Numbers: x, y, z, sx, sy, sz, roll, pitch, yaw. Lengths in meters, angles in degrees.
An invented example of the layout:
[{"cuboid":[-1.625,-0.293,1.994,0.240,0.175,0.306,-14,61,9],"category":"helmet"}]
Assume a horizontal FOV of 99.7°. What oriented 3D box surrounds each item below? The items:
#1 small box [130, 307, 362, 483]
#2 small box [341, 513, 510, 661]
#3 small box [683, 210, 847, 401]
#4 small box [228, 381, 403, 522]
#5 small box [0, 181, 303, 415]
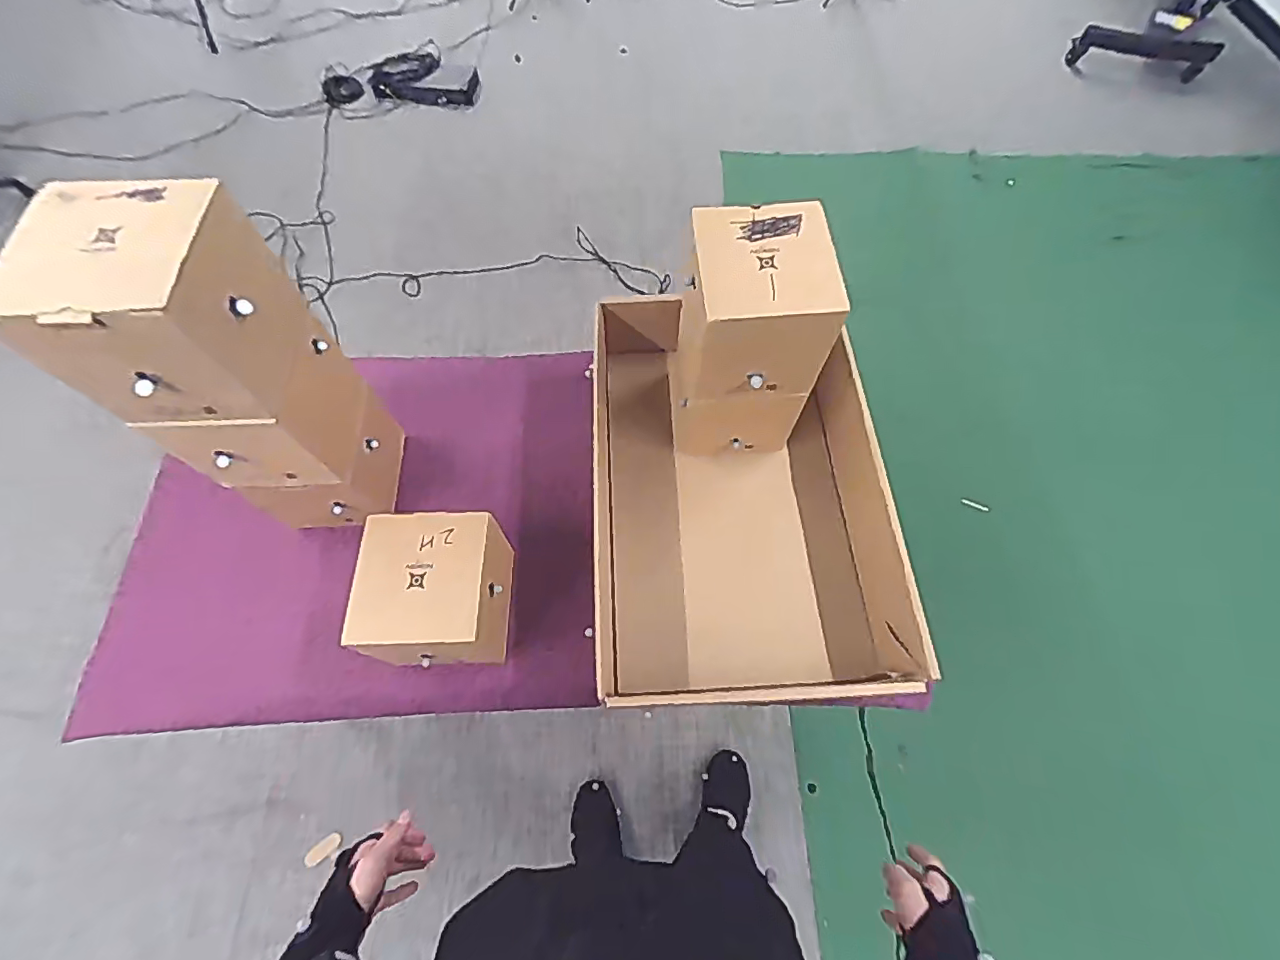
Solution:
[{"cuboid":[-0.494,-0.103,0.713,0.168,0.176,0.179,-2,64,-2],"category":"small box"},{"cuboid":[-0.286,0.158,0.766,0.168,0.176,0.179,0,63,-2],"category":"small box"},{"cuboid":[0.149,-0.225,0.716,0.168,0.176,0.179,-4,66,-1],"category":"small box"},{"cuboid":[-0.497,-0.037,0.860,0.168,0.176,0.179,-1,64,-2],"category":"small box"},{"cuboid":[-0.490,-0.179,0.567,0.168,0.176,0.179,-2,65,-3],"category":"small box"}]
